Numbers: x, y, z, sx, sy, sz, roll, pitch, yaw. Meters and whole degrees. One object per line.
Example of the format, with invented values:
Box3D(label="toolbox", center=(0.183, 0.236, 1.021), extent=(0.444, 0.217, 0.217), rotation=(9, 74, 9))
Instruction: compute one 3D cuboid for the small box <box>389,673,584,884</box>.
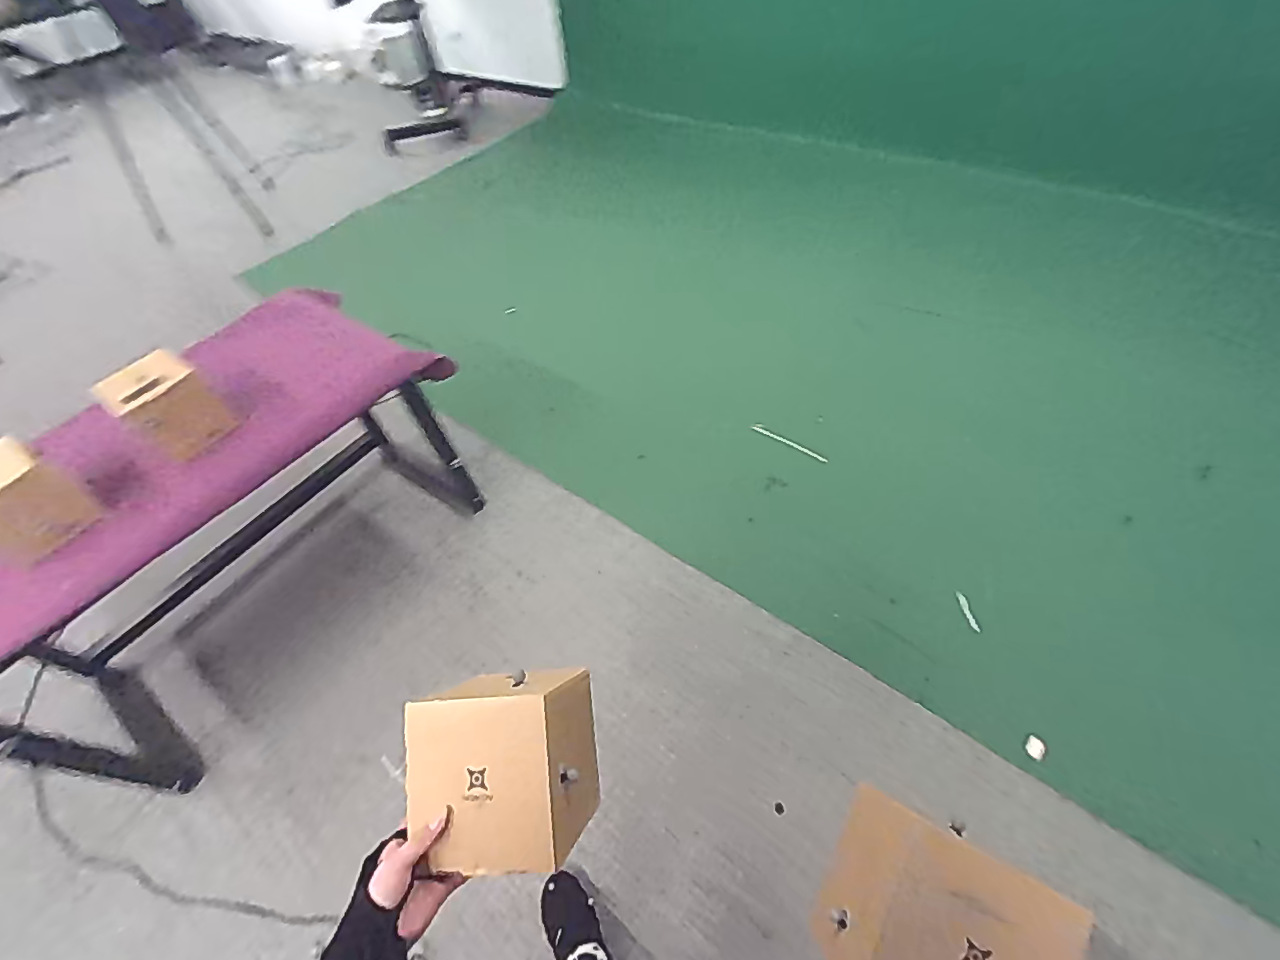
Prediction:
Box3D(label="small box", center=(-0.170, 0.332, 0.635), extent=(0.168, 0.176, 0.179), rotation=(-8, 80, 8))

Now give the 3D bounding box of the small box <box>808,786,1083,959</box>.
Box3D(label="small box", center=(0.289, 0.453, 0.553), extent=(0.168, 0.176, 0.179), rotation=(27, 75, 10))

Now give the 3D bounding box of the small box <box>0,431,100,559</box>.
Box3D(label="small box", center=(-1.301, 0.035, 1.121), extent=(0.179, 0.176, 0.168), rotation=(28, 60, 25))
